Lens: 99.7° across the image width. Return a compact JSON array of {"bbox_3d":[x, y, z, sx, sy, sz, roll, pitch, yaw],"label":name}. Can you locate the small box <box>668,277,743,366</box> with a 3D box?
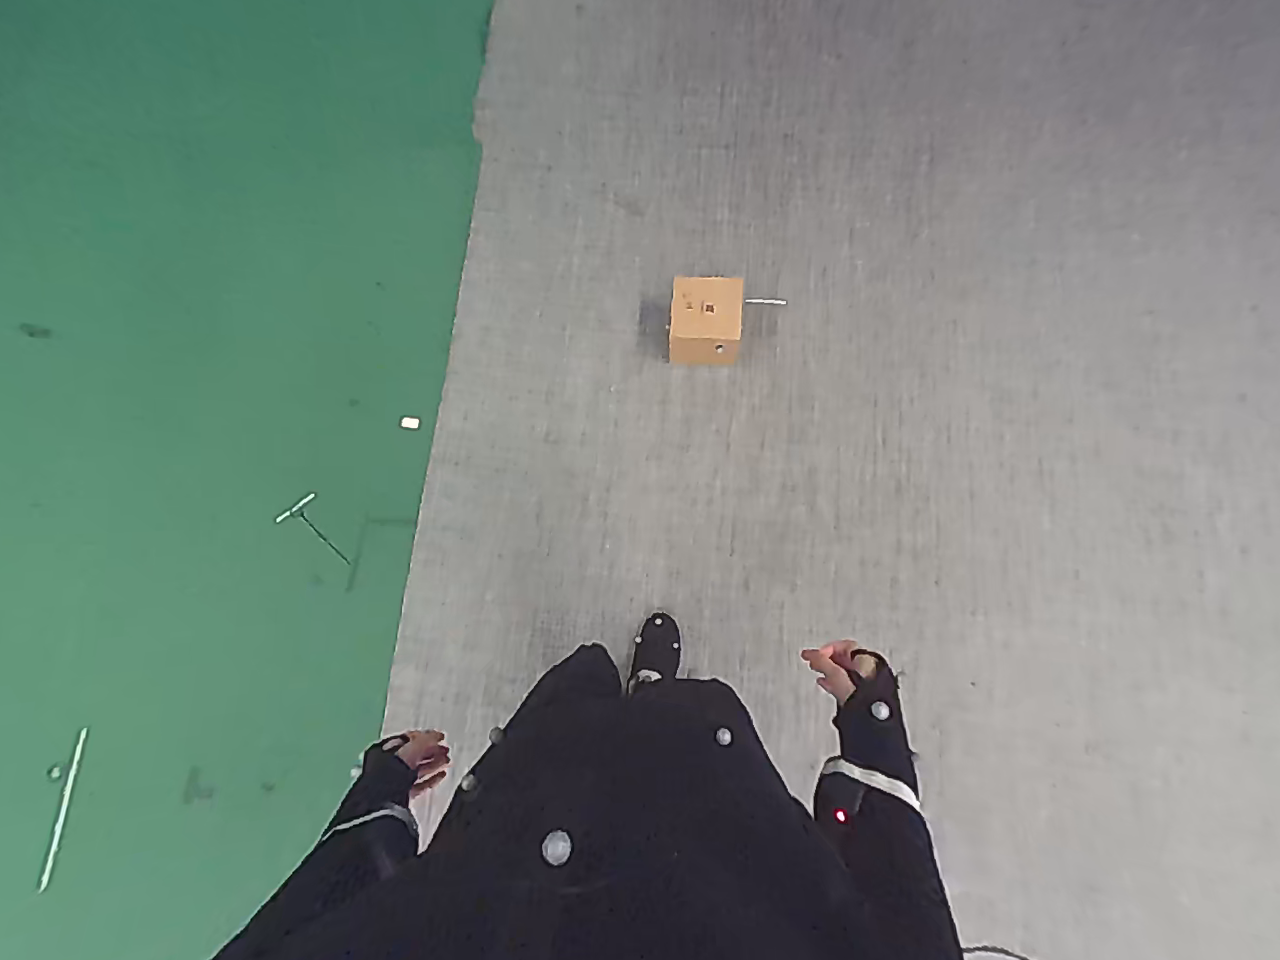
[{"bbox_3d":[0.167,-0.408,1.414,0.179,0.176,0.168,4,79,5],"label":"small box"}]
